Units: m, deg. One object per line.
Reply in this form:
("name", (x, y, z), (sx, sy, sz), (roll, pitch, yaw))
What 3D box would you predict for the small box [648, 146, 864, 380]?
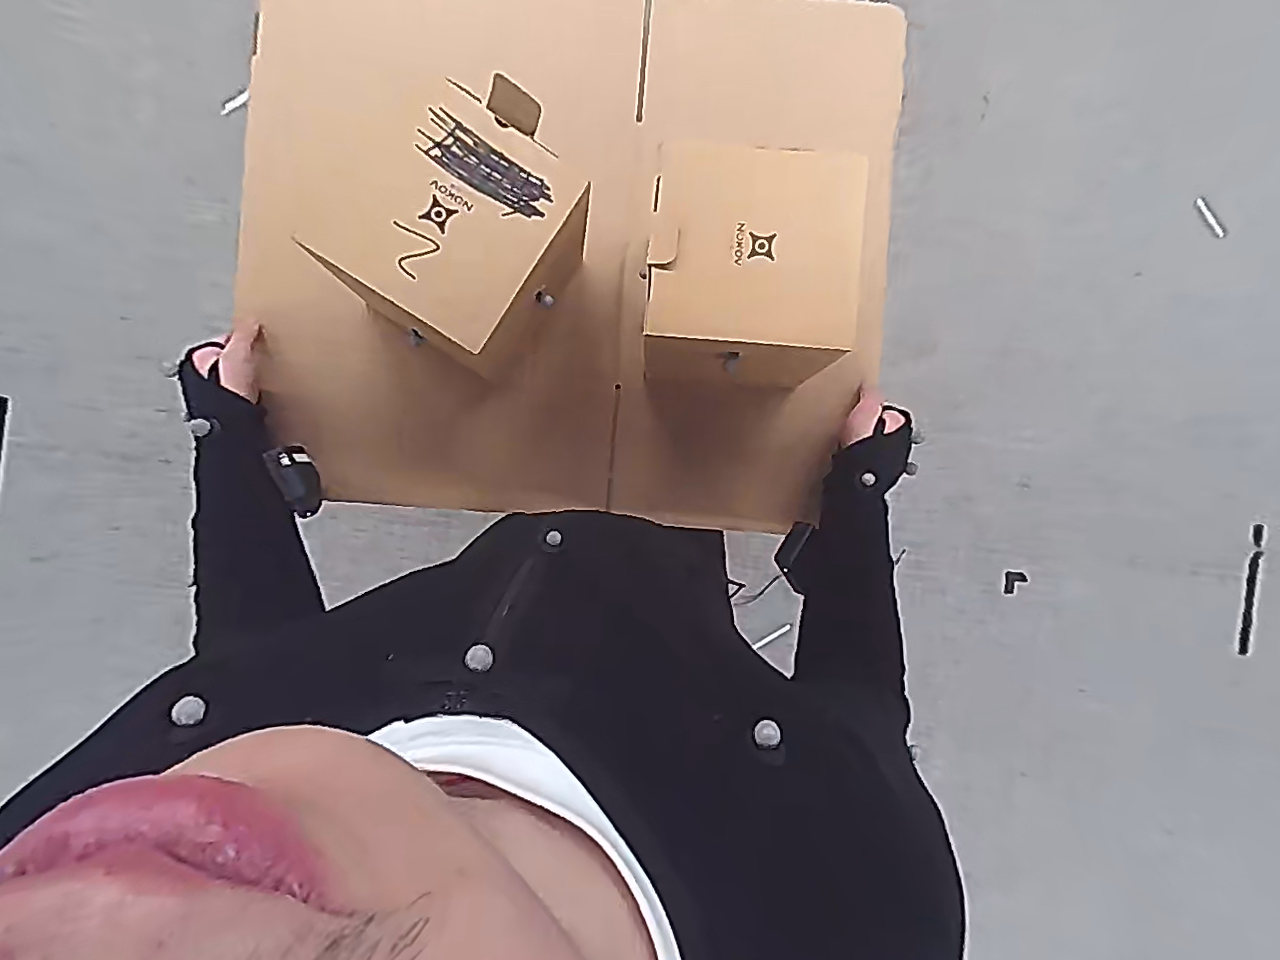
("small box", (0.101, -0.200, 0.544), (0.179, 0.176, 0.168), (4, 89, 2))
